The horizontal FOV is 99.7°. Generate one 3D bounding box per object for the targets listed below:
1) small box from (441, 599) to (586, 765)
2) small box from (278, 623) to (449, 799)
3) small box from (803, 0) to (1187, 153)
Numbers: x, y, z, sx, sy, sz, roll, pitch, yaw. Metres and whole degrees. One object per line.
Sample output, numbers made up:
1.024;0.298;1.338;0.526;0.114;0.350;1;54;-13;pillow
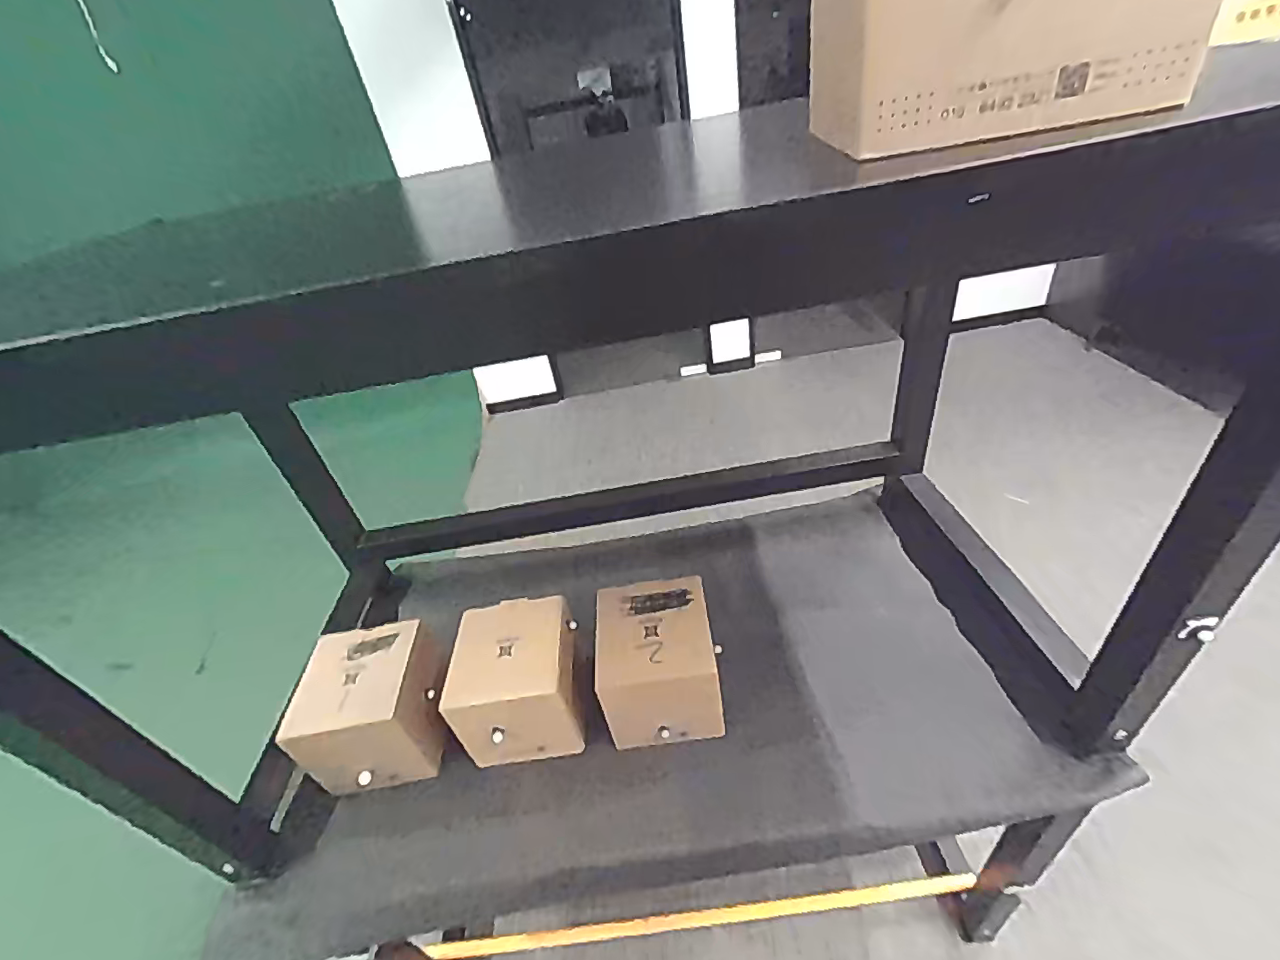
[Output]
-0.181;0.316;0.836;0.168;0.176;0.179;-9;34;2;small box
-0.404;0.355;0.839;0.168;0.176;0.179;-11;35;0;small box
0.194;-0.306;0.321;0.168;0.176;0.179;-5;35;9;small box
